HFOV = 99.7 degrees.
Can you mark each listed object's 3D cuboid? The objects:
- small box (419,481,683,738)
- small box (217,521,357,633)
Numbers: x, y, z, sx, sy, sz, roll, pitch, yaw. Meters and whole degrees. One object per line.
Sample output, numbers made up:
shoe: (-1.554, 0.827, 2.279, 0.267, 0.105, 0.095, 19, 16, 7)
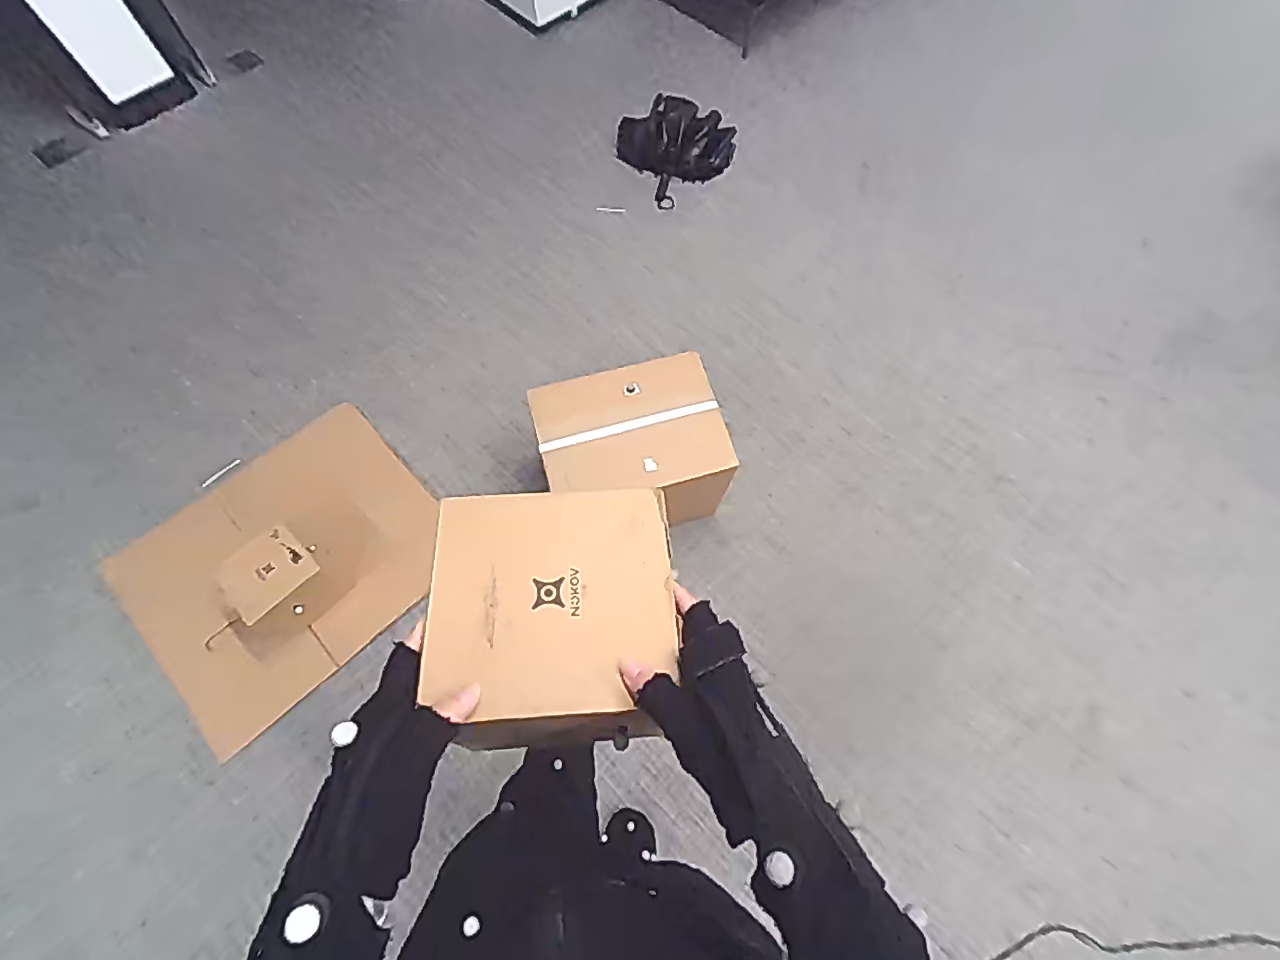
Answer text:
small box: (-0.067, 0.117, 0.464, 0.179, 0.176, 0.168, -4, 58, -4)
small box: (-0.805, 0.231, 1.251, 0.168, 0.176, 0.179, 38, 73, 16)
